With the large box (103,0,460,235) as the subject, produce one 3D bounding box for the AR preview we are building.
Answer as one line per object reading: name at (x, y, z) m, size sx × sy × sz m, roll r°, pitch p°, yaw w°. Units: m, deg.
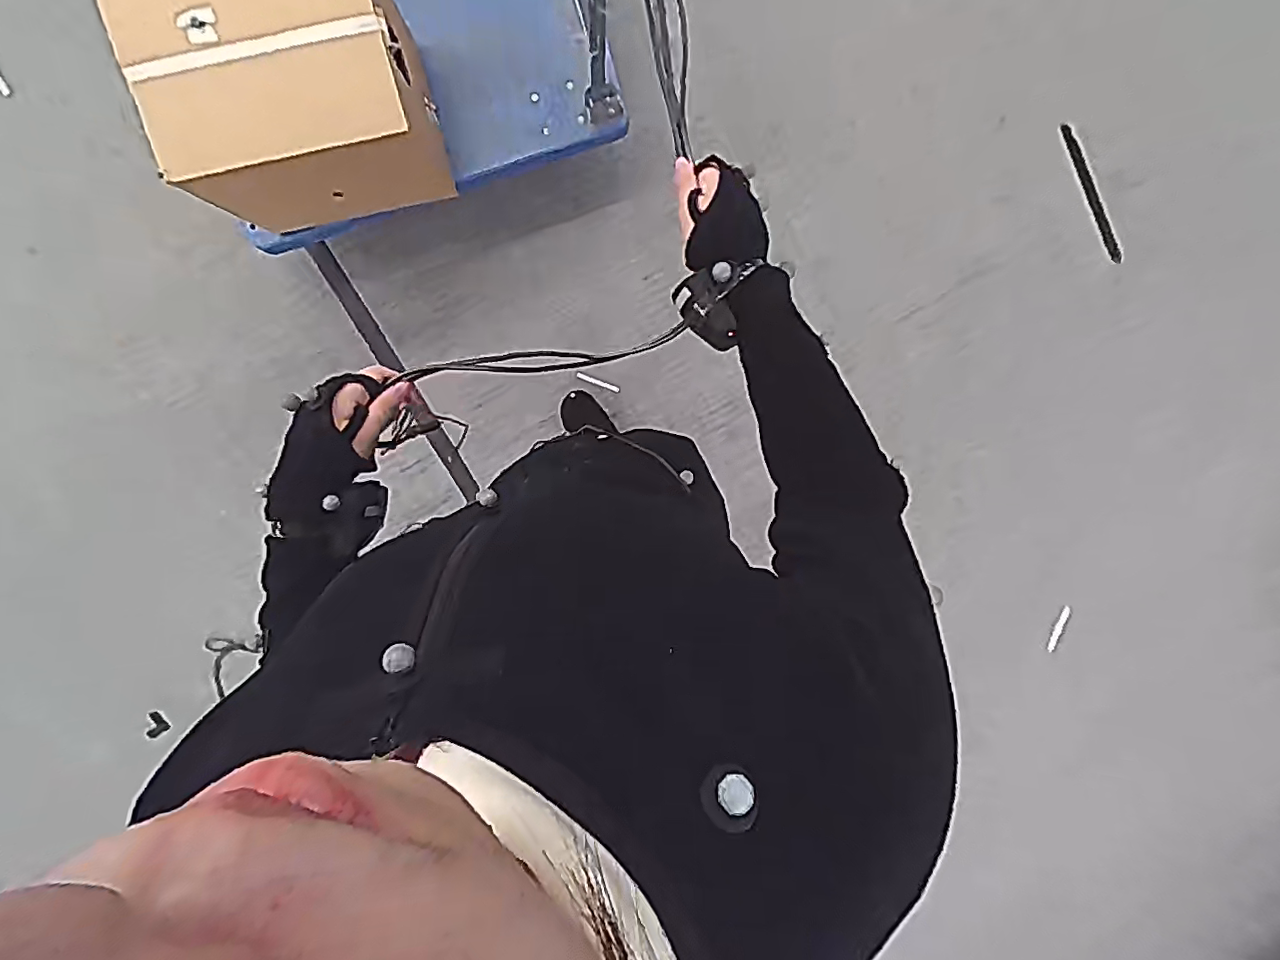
large box at (-0.604, -0.689, 0.994) m, size 0.408 × 0.320 × 0.320 m, roll -14°, pitch 100°, yaw -1°
